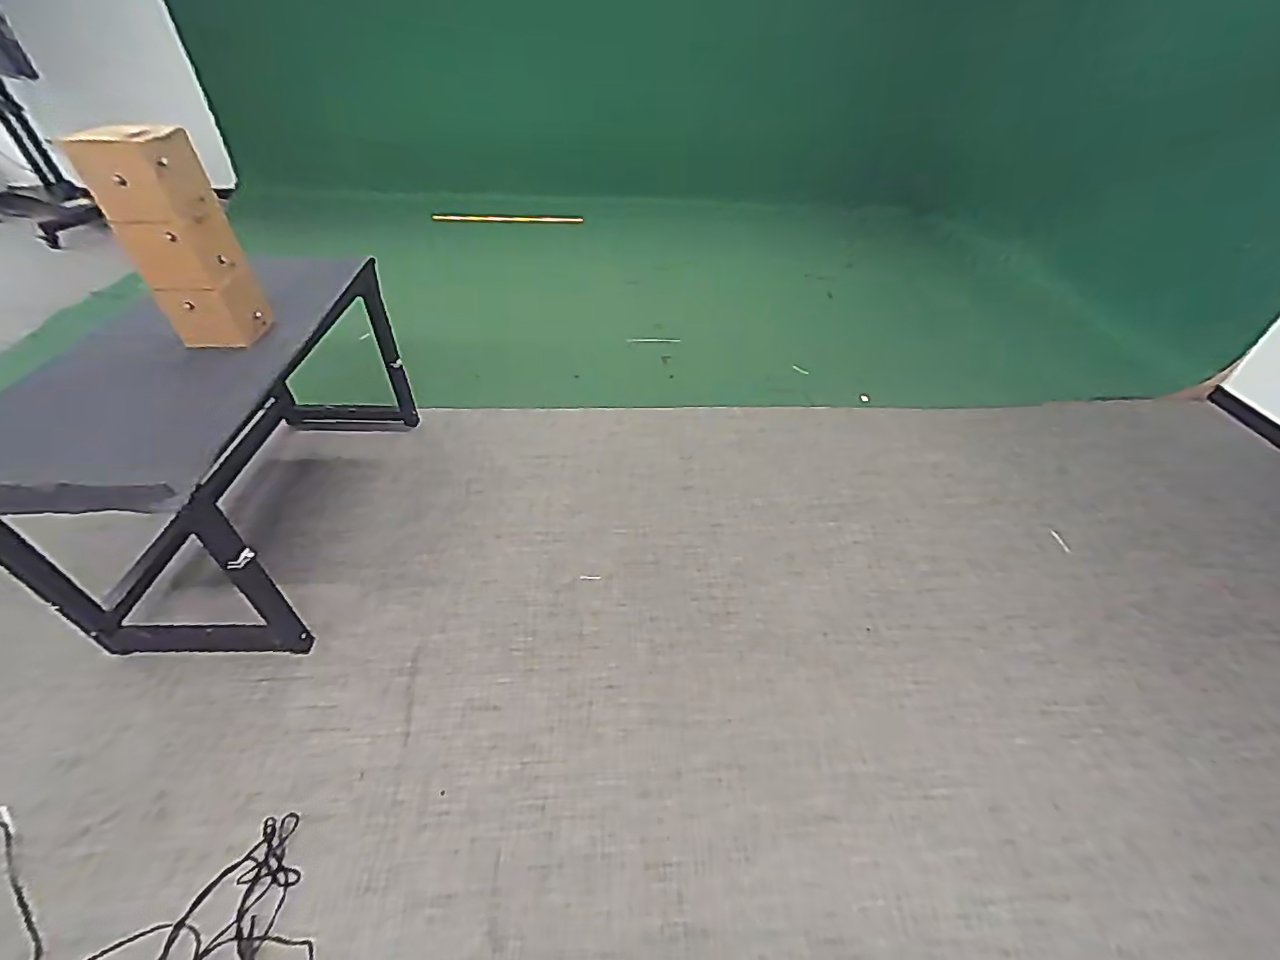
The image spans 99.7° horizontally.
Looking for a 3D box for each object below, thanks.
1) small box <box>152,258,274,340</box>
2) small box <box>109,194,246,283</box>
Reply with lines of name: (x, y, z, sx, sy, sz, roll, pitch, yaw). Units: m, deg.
small box: (-1.167, -0.500, 1.495, 0.179, 0.176, 0.168, 0, 44, -2)
small box: (-1.168, -0.618, 1.384, 0.179, 0.176, 0.168, 0, 43, -2)
